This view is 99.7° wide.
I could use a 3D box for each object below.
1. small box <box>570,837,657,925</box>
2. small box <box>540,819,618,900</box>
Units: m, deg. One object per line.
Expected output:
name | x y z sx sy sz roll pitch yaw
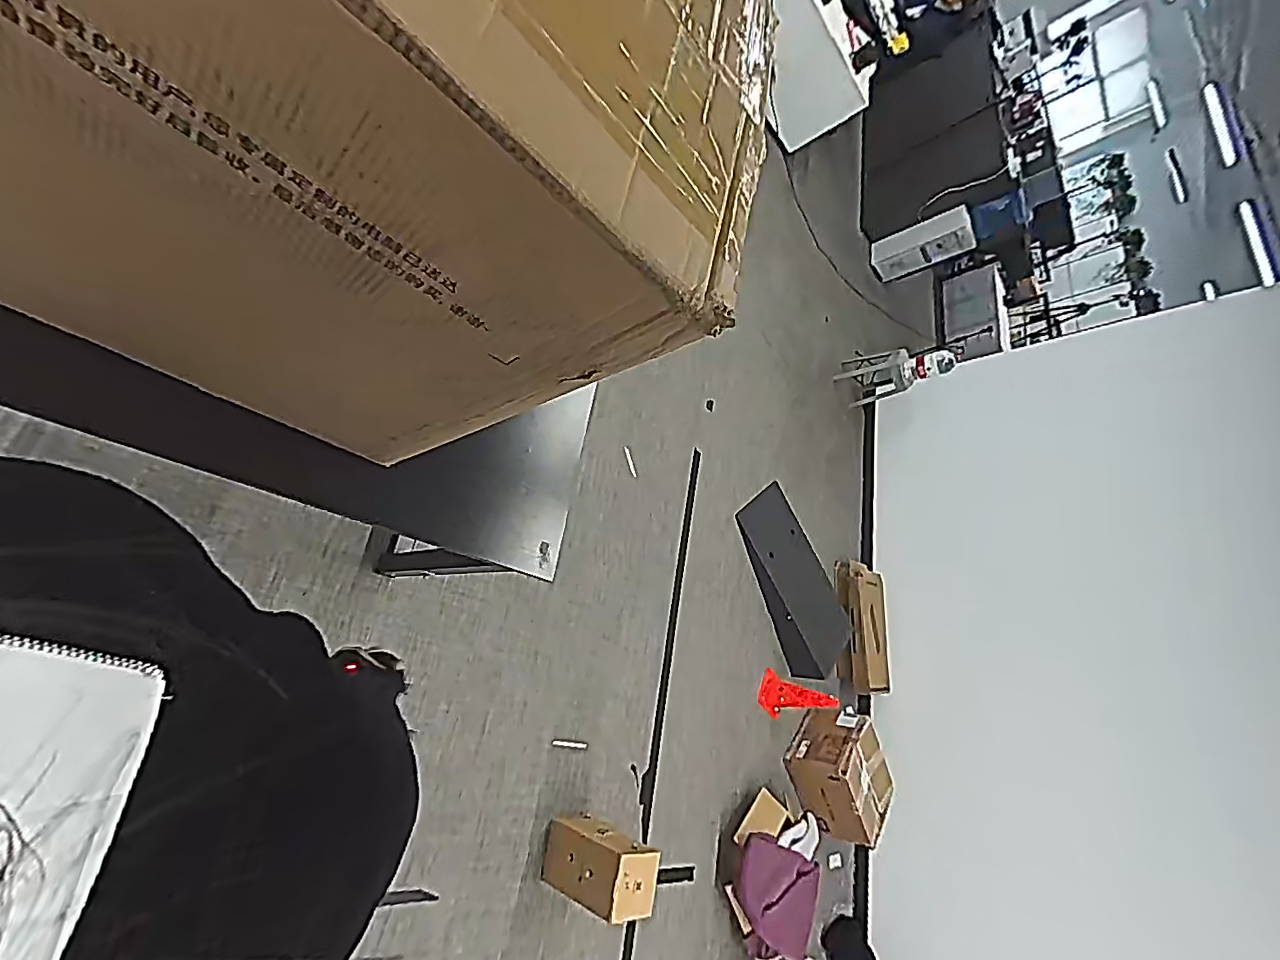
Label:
small box | -0.078 1.185 1.612 0.179 0.176 0.168 30 61 -39
small box | -0.197 1.202 1.726 0.168 0.176 0.179 26 65 -41
